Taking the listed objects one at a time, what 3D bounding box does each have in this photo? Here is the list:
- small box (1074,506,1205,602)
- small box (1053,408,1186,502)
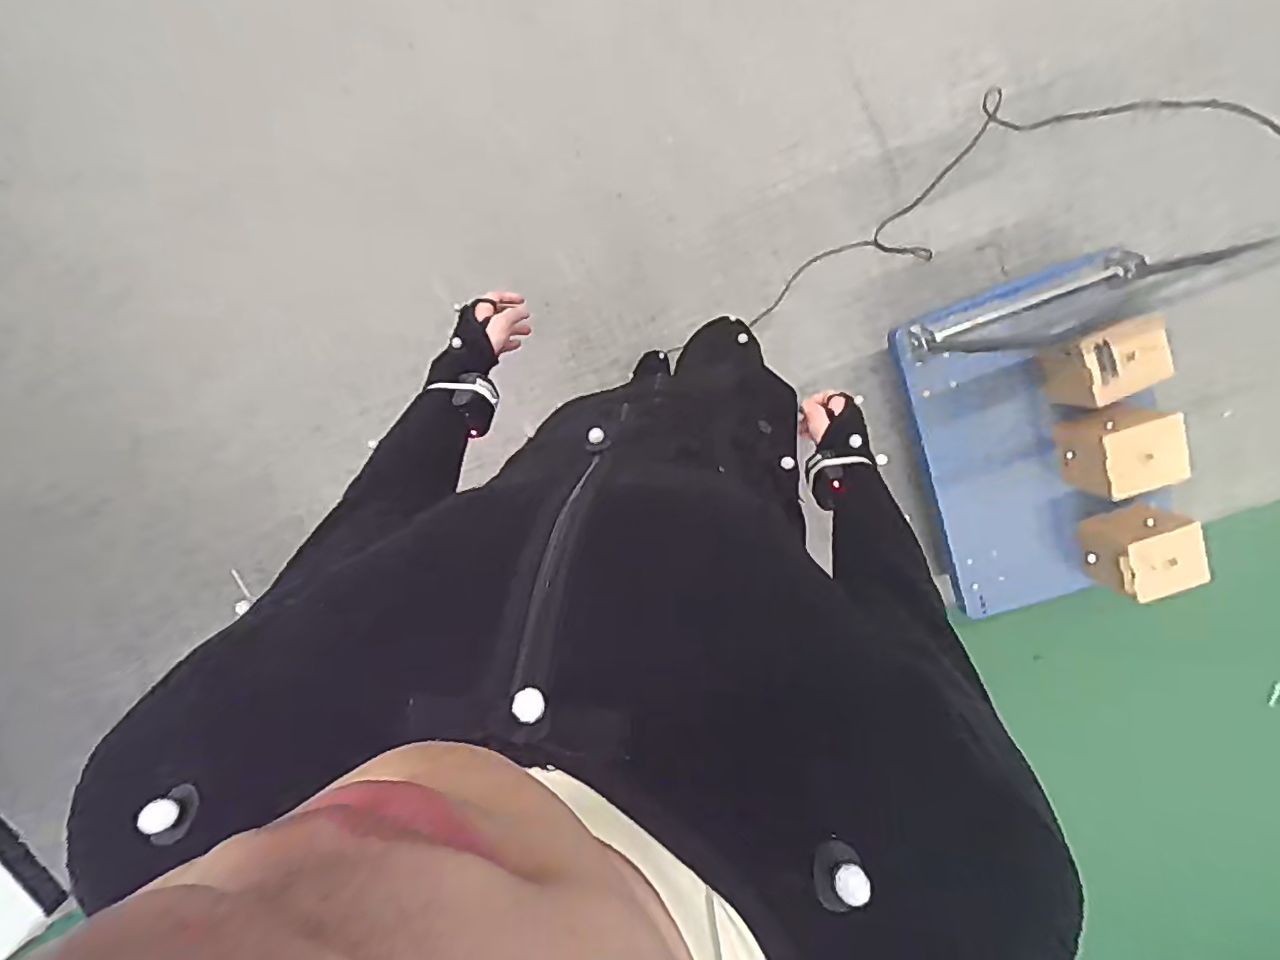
[{"bbox_3d":[1.279,0.184,1.394,0.179,0.176,0.168,-20,102,7],"label":"small box"},{"bbox_3d":[1.175,-0.070,1.335,0.179,0.176,0.168,-19,103,8],"label":"small box"}]
